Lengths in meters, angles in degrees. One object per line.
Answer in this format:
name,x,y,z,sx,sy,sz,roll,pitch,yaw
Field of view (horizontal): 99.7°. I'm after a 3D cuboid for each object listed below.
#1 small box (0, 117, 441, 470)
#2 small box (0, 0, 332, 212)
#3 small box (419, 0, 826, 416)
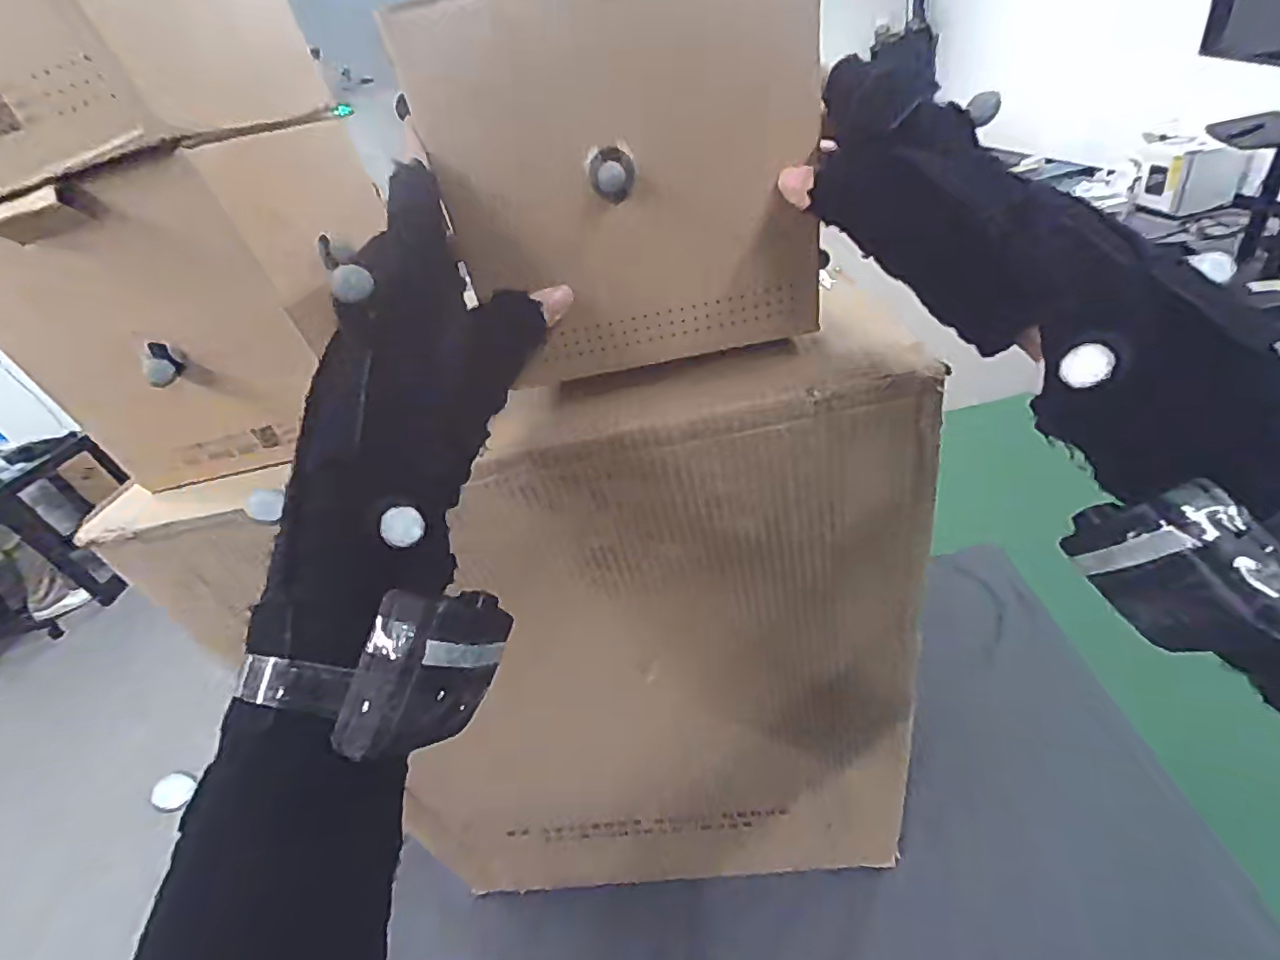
small box,-0.262,-0.122,0.371,0.168,0.176,0.179,-11,37,6
small box,-0.296,-0.243,0.268,0.168,0.176,0.179,-10,36,7
small box,0.001,-0.158,0.334,0.179,0.176,0.168,-11,32,3
